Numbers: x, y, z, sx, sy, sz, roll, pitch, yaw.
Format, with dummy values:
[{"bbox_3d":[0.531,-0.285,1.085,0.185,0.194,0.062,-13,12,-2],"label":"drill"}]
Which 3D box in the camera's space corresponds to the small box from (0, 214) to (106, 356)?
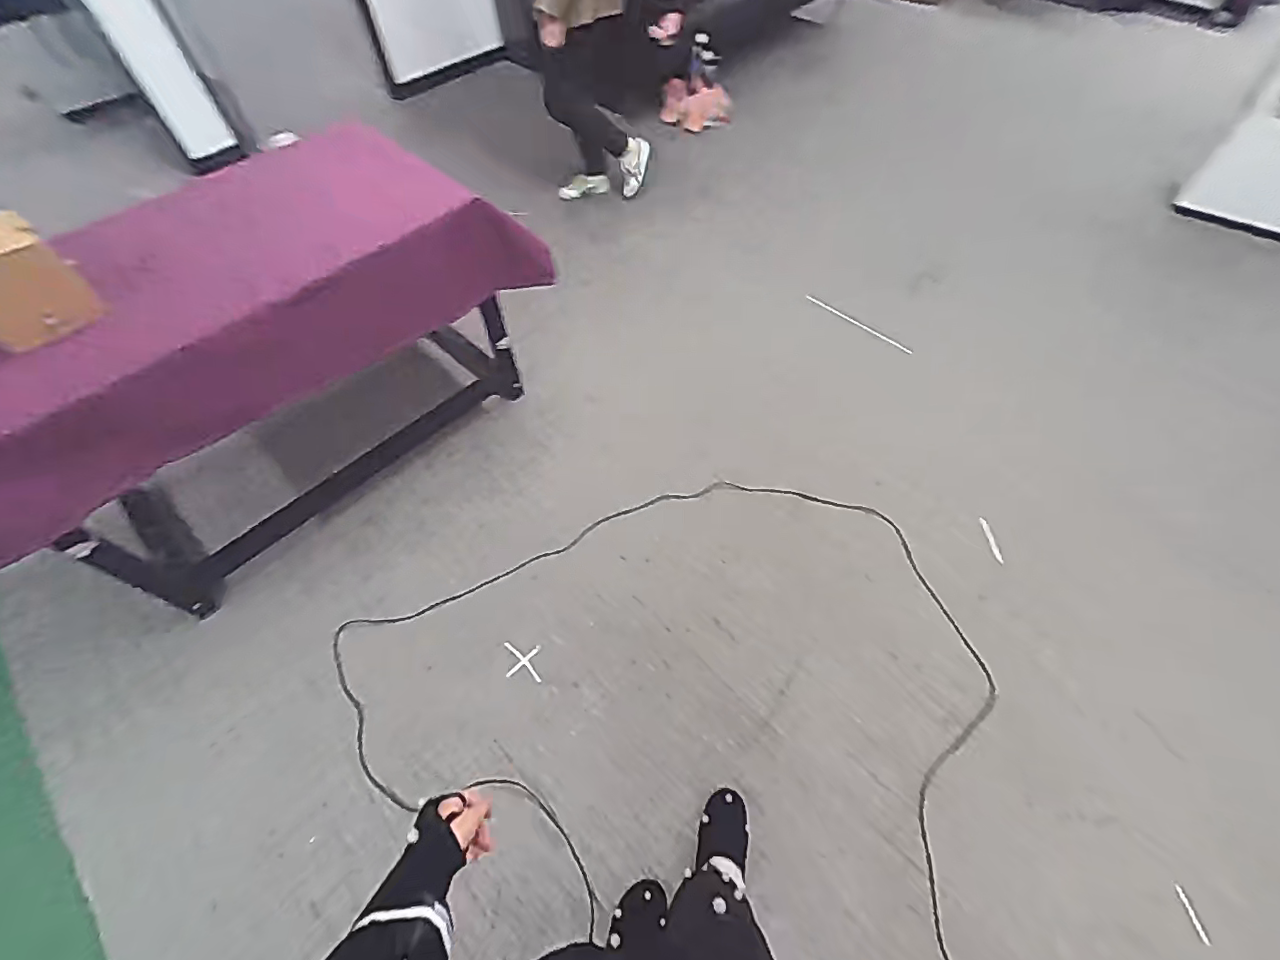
[{"bbox_3d":[-1.228,-0.384,1.072,0.168,0.176,0.179,37,65,22],"label":"small box"}]
